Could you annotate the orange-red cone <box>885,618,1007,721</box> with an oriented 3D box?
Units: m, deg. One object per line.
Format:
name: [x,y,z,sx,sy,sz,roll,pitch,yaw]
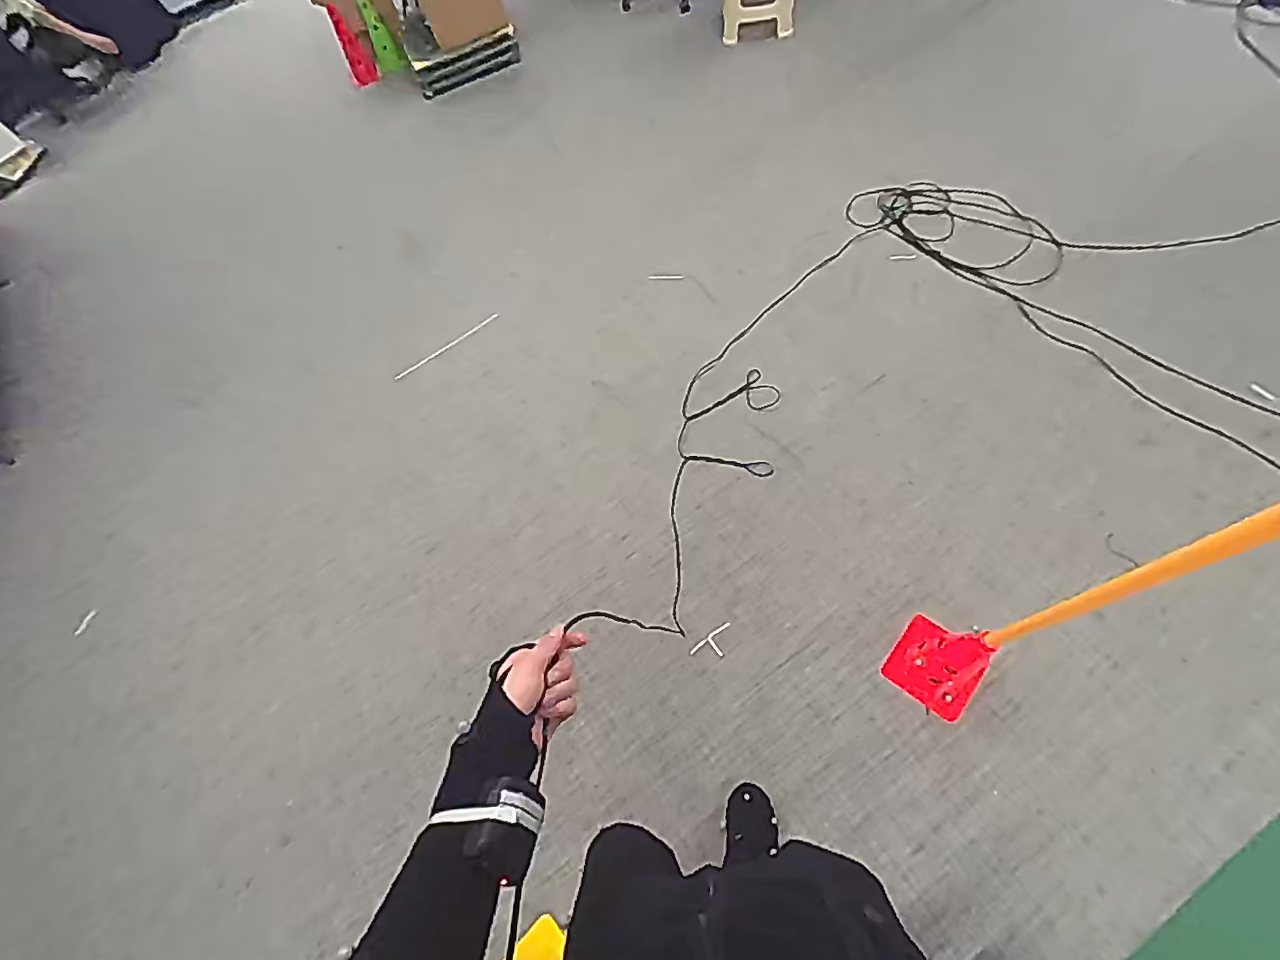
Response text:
orange-red cone: [0.724,0.396,1.215,0.198,0.360,0.199,36,73,23]
